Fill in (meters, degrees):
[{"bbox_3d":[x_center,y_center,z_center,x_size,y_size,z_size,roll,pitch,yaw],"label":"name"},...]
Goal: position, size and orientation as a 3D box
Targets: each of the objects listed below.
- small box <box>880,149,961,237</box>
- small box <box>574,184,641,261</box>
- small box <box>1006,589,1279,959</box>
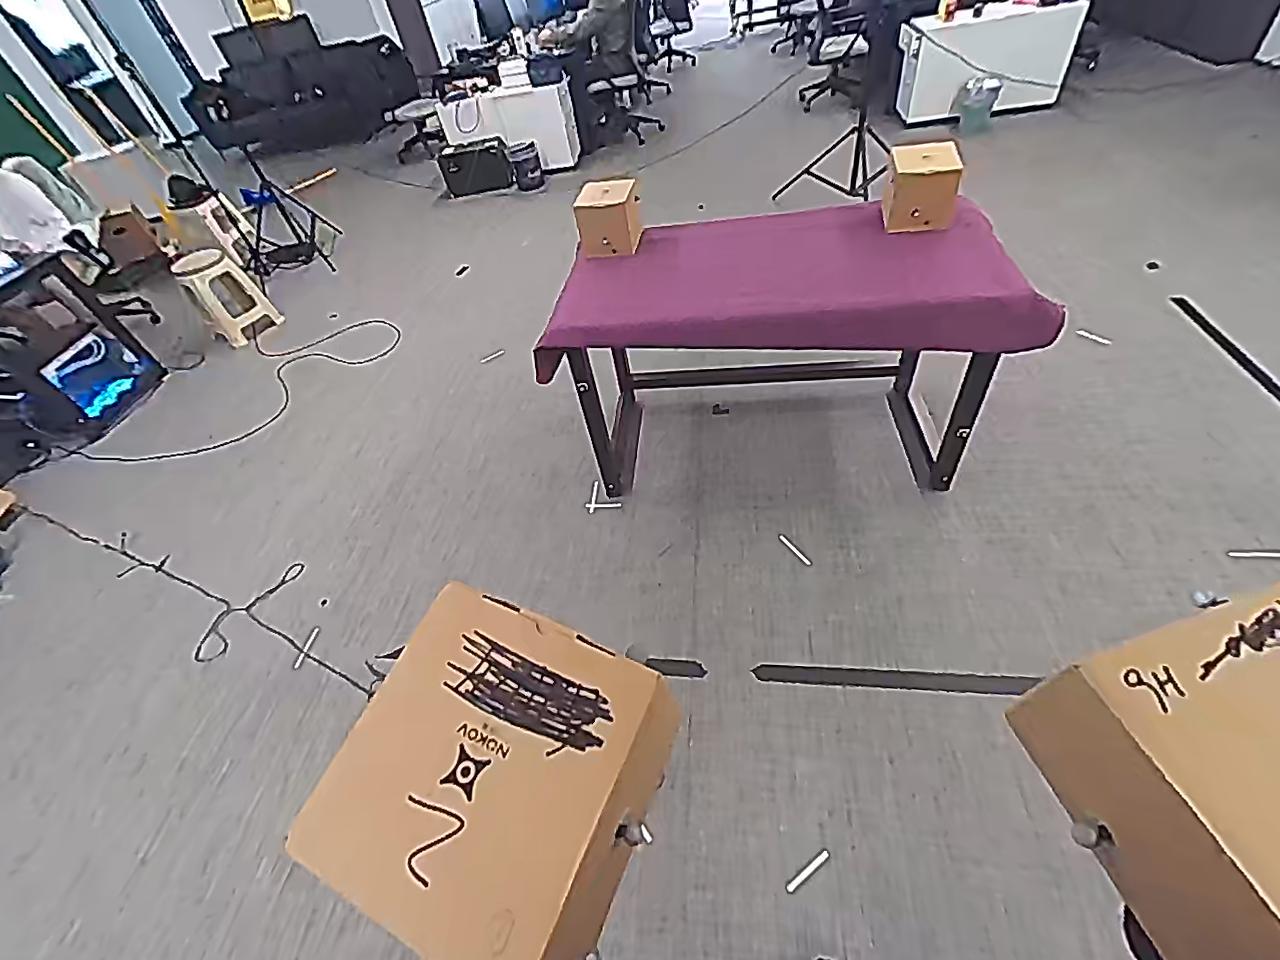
[{"bbox_3d":[0.802,-0.829,1.567,0.168,0.176,0.179,2,52,13],"label":"small box"},{"bbox_3d":[-0.098,-0.827,1.740,0.168,0.176,0.179,2,50,13],"label":"small box"},{"bbox_3d":[0.377,0.187,0.334,0.168,0.176,0.179,-22,54,3],"label":"small box"}]
